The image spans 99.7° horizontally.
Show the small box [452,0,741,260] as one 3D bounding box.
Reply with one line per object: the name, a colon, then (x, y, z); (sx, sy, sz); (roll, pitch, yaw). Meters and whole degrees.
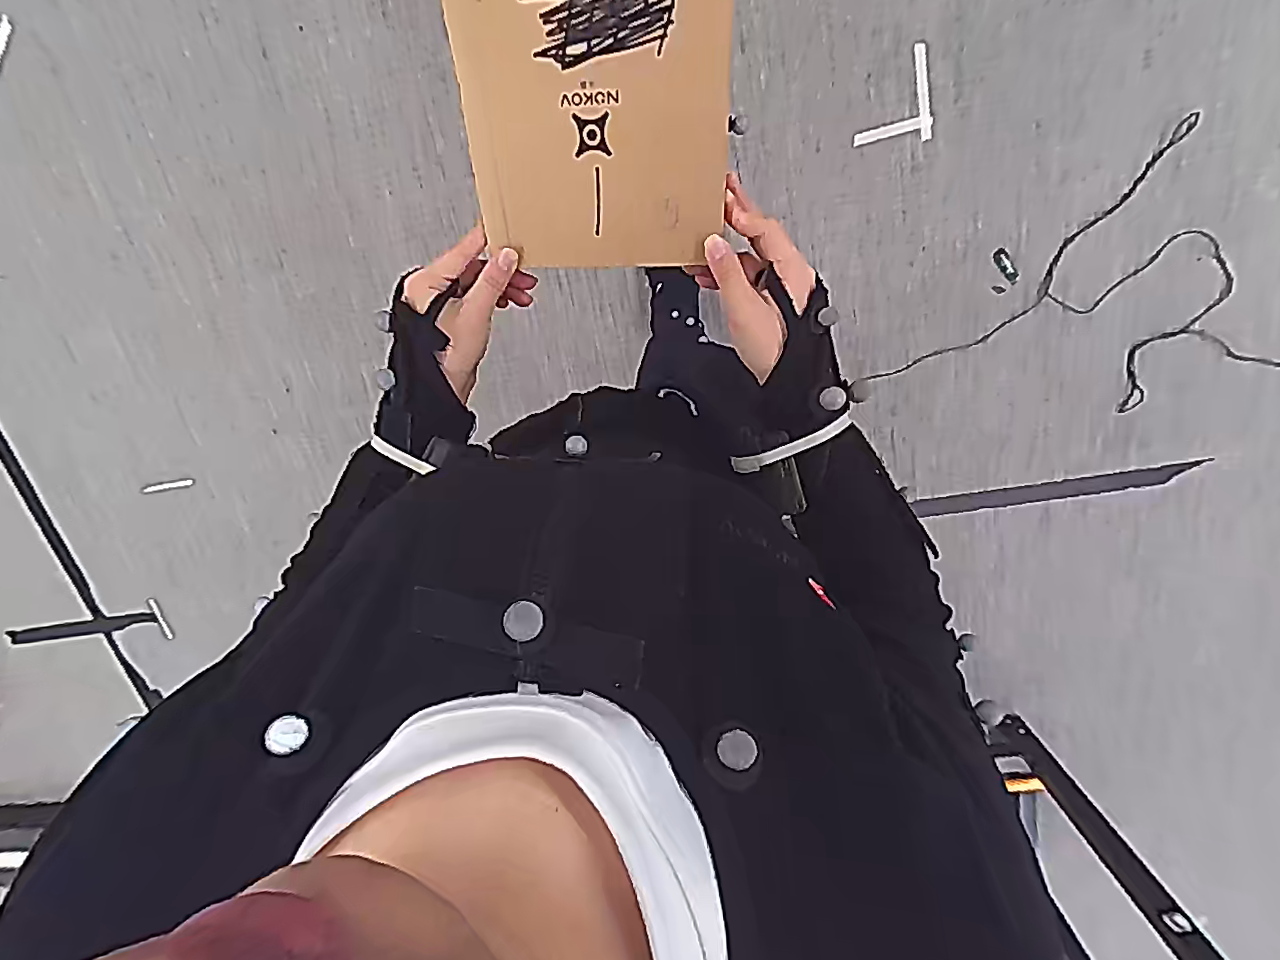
small box: (-0.016, -0.269, 0.394); (0.168, 0.176, 0.179); (2, 124, 7)
